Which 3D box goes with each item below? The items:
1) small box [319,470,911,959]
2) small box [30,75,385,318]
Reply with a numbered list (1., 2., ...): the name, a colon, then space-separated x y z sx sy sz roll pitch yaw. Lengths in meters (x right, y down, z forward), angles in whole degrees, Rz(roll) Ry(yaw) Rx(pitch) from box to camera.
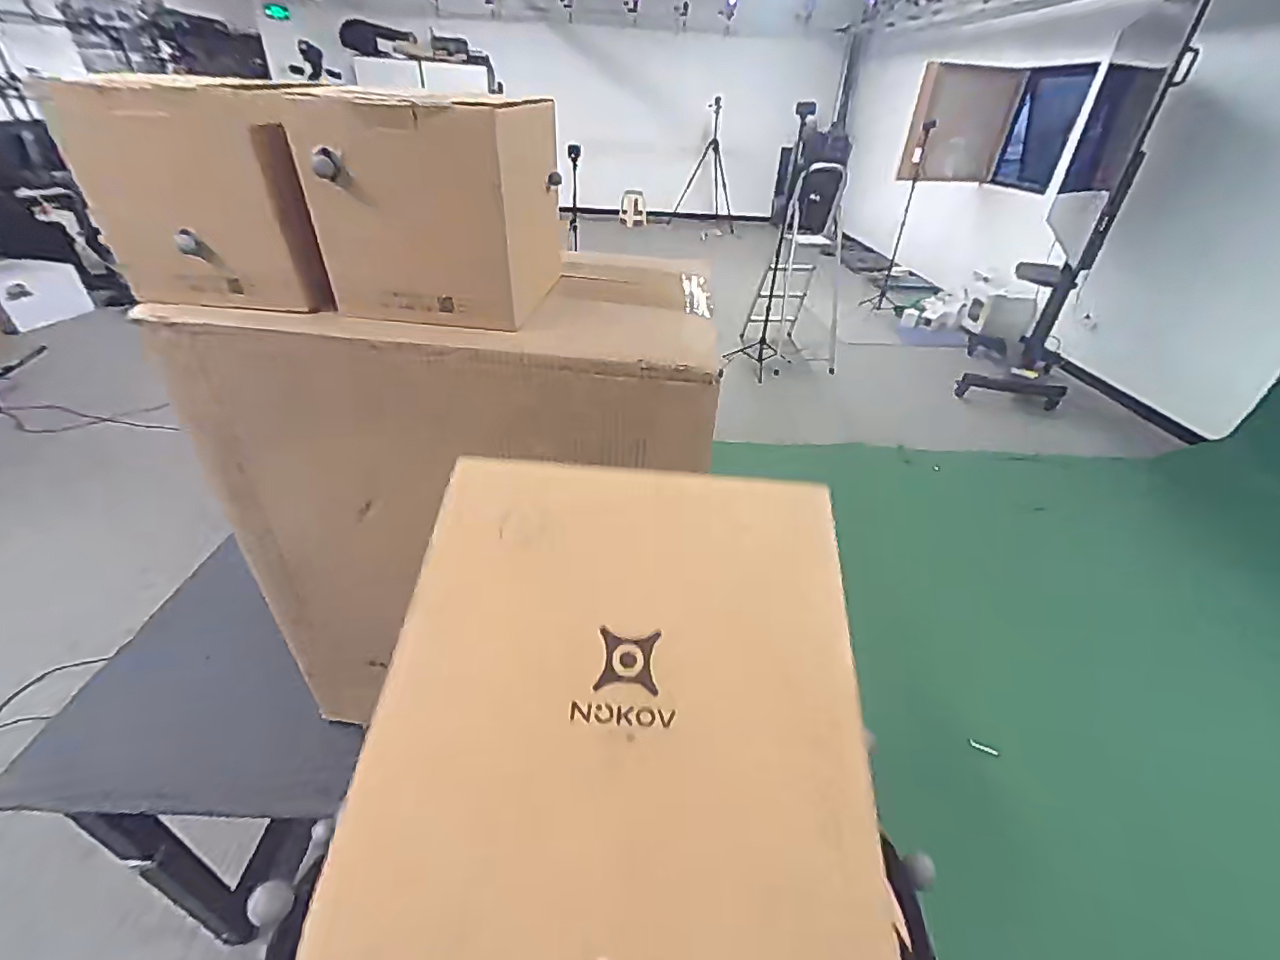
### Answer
1. small box: -0.004 0.119 0.255 0.168 0.176 0.179 5 58 0
2. small box: -0.362 -0.265 0.504 0.168 0.176 0.179 4 37 3
